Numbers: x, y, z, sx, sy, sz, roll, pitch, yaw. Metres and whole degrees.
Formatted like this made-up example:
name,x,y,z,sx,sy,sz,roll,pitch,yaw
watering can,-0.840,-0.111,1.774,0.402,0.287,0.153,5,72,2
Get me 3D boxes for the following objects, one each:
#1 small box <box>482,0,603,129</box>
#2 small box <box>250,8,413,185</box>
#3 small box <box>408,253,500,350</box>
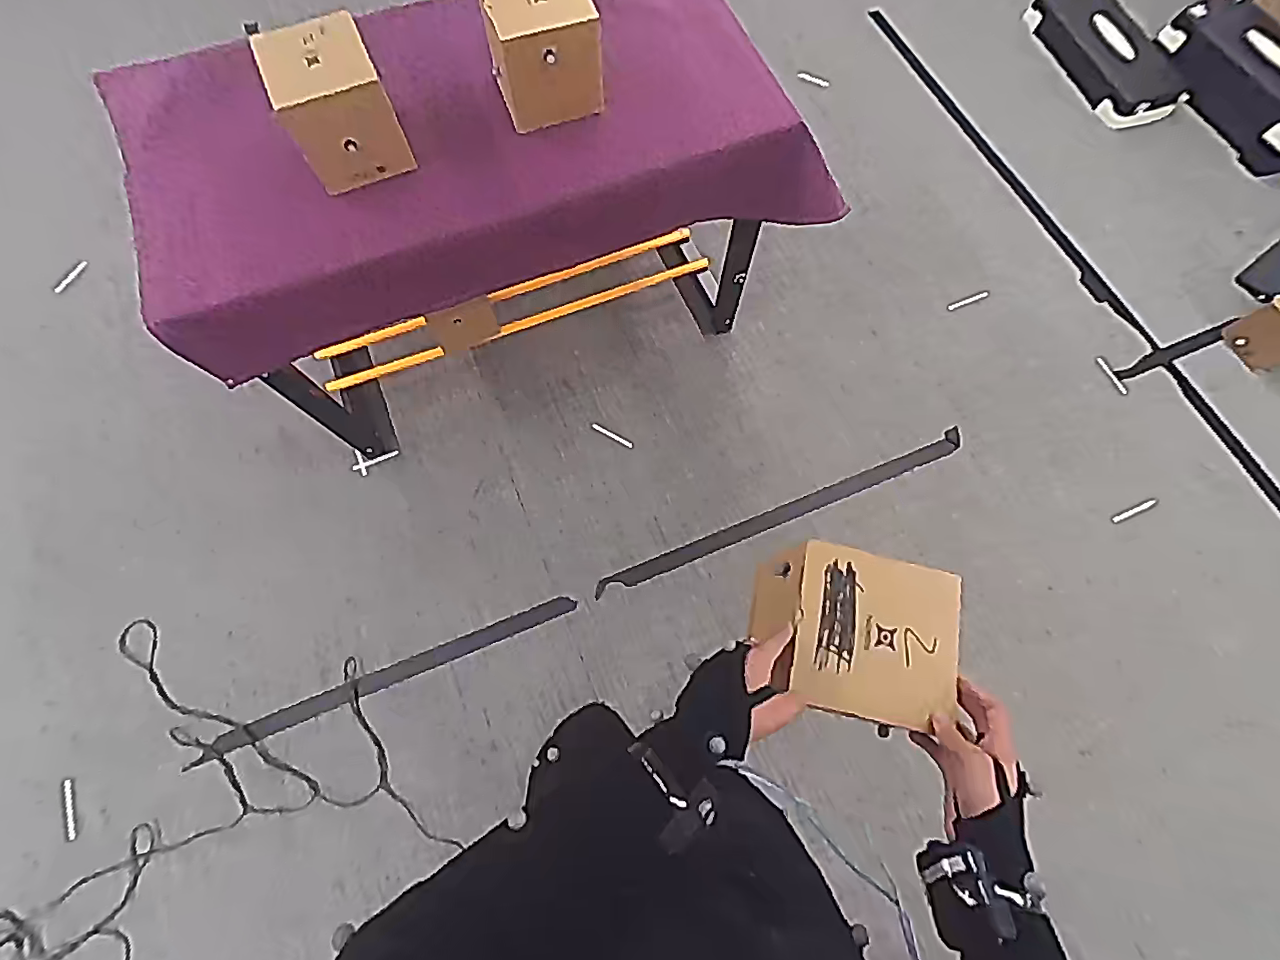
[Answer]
name,x,y,z,sx,sy,sz,roll,pitch,yaw
small box,-0.172,-0.782,0.977,0.179,0.176,0.168,-19,74,-6
small box,-0.515,-0.641,0.926,0.168,0.176,0.179,-23,74,-8
small box,-0.518,-0.496,1.526,0.179,0.176,0.168,-24,74,-10
